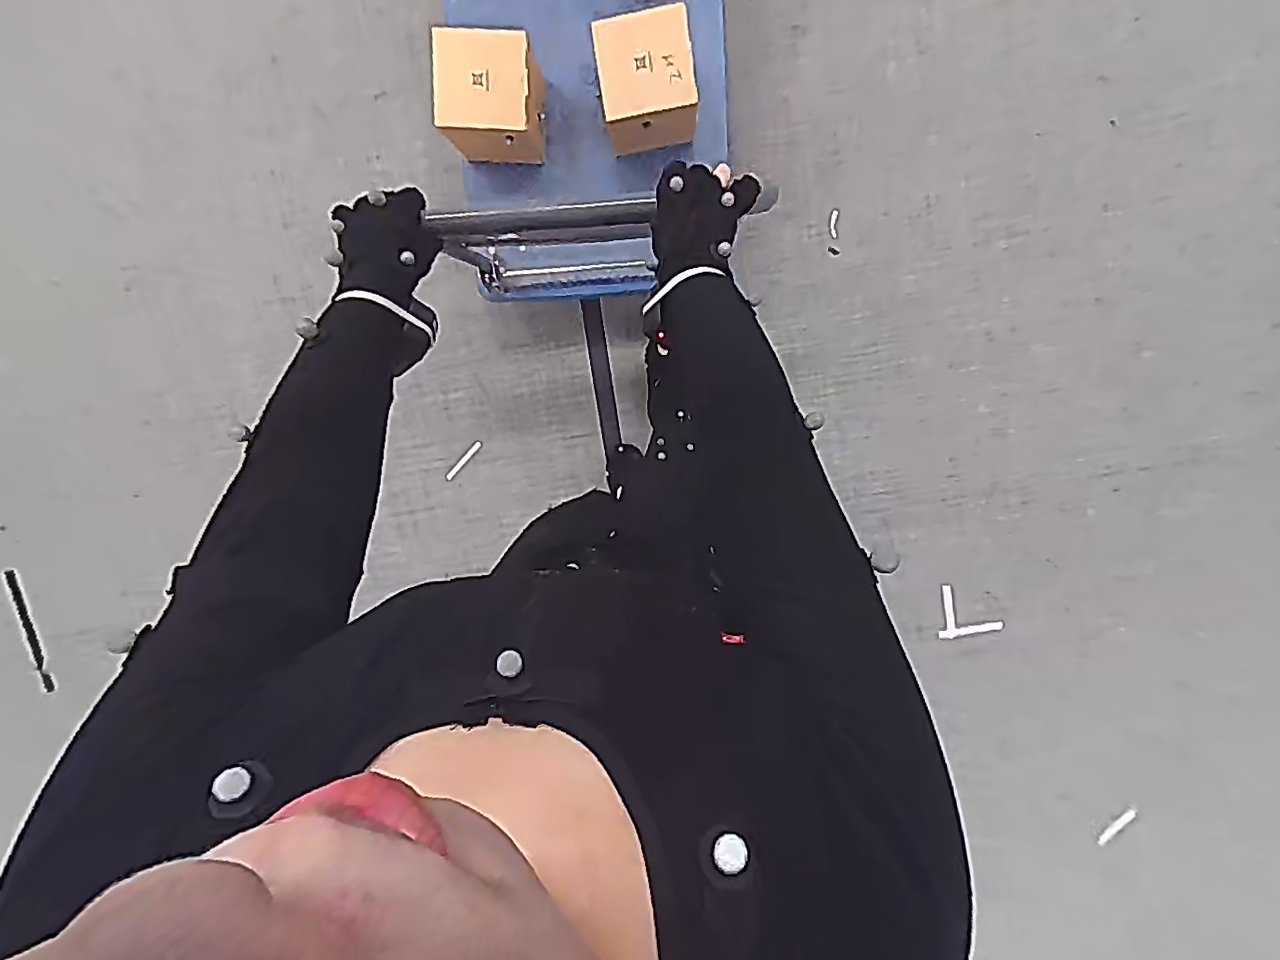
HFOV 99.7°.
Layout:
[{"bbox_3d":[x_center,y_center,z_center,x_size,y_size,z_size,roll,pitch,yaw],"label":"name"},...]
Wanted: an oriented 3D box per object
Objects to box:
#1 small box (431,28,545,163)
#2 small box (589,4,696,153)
[{"bbox_3d":[-0.293,-0.745,1.065,0.179,0.176,0.168,3,102,0],"label":"small box"},{"bbox_3d":[0.010,-0.763,1.049,0.179,0.176,0.168,-8,102,4],"label":"small box"}]
